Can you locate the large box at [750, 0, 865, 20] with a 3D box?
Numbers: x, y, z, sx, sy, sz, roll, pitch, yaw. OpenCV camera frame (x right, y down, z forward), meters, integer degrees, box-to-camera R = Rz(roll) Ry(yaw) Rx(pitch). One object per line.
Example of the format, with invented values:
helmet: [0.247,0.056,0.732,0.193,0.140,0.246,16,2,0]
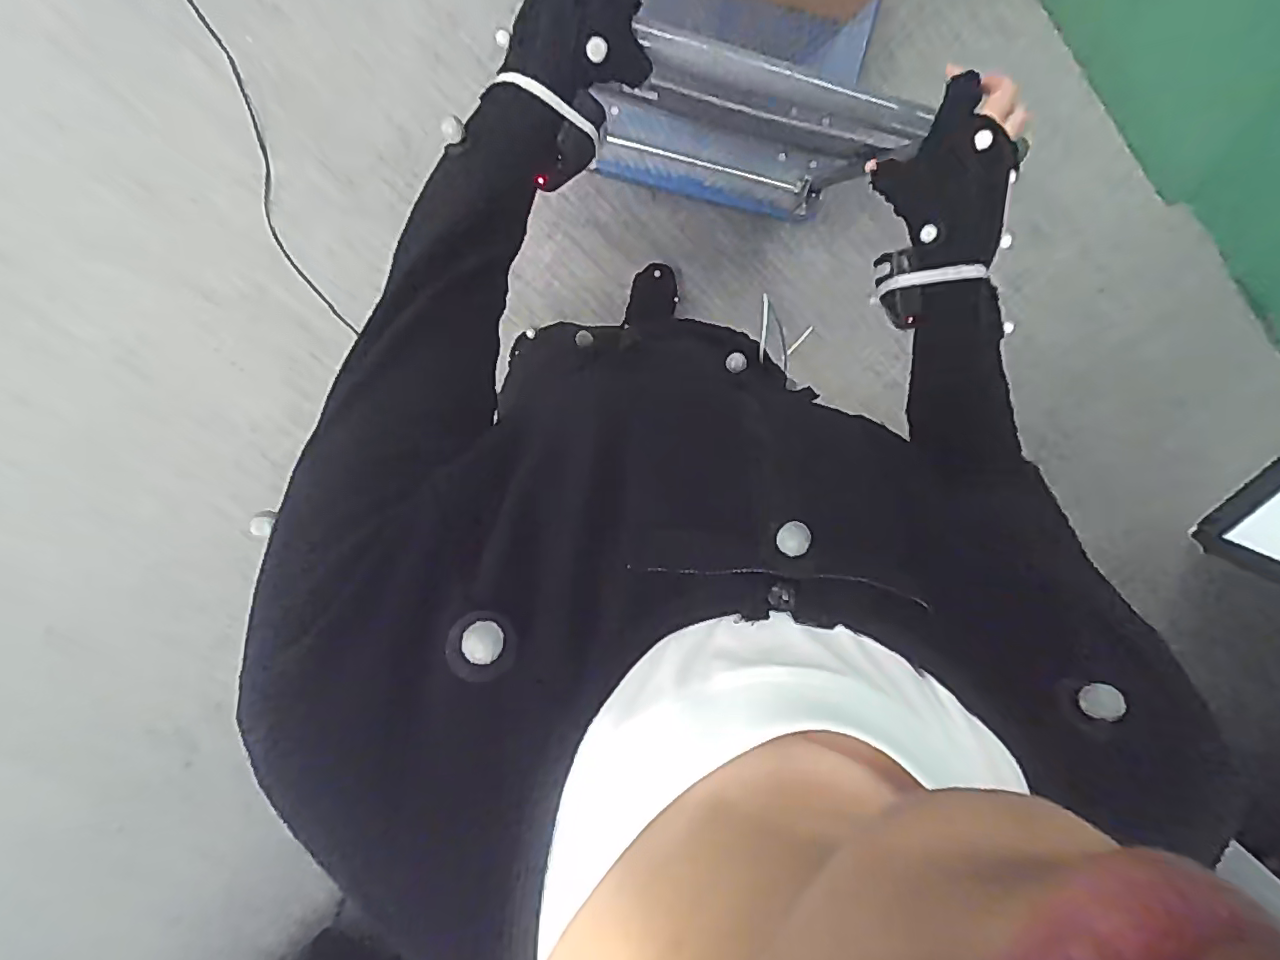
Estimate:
large box: [0.237,-0.998,0.836,0.408,0.320,0.320,8,108,-7]
